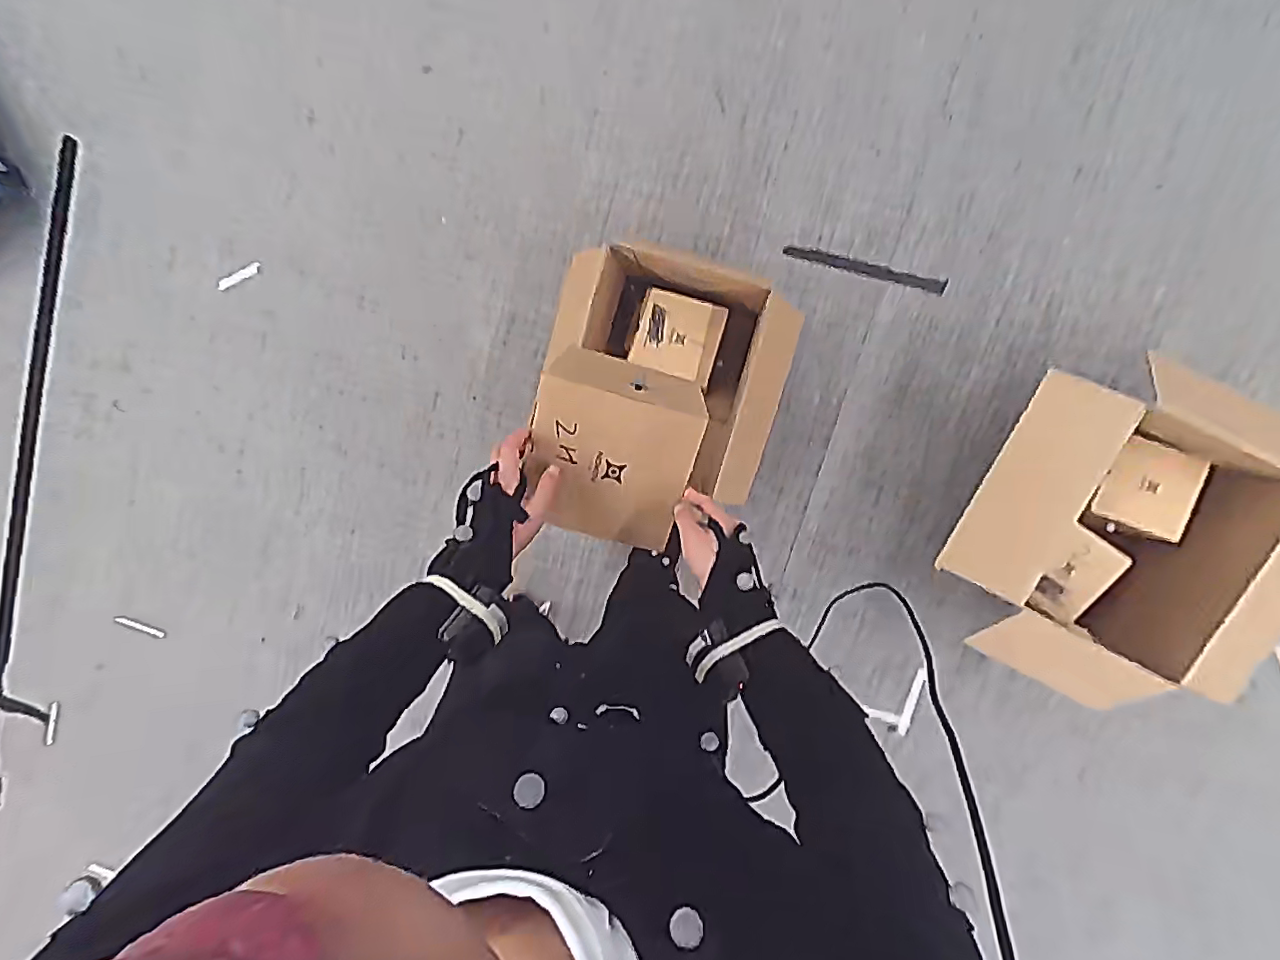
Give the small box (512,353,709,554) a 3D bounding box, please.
[{"bbox_3d":[-0.032,-0.041,0.636,0.179,0.176,0.168,15,112,-4],"label":"small box"}]
